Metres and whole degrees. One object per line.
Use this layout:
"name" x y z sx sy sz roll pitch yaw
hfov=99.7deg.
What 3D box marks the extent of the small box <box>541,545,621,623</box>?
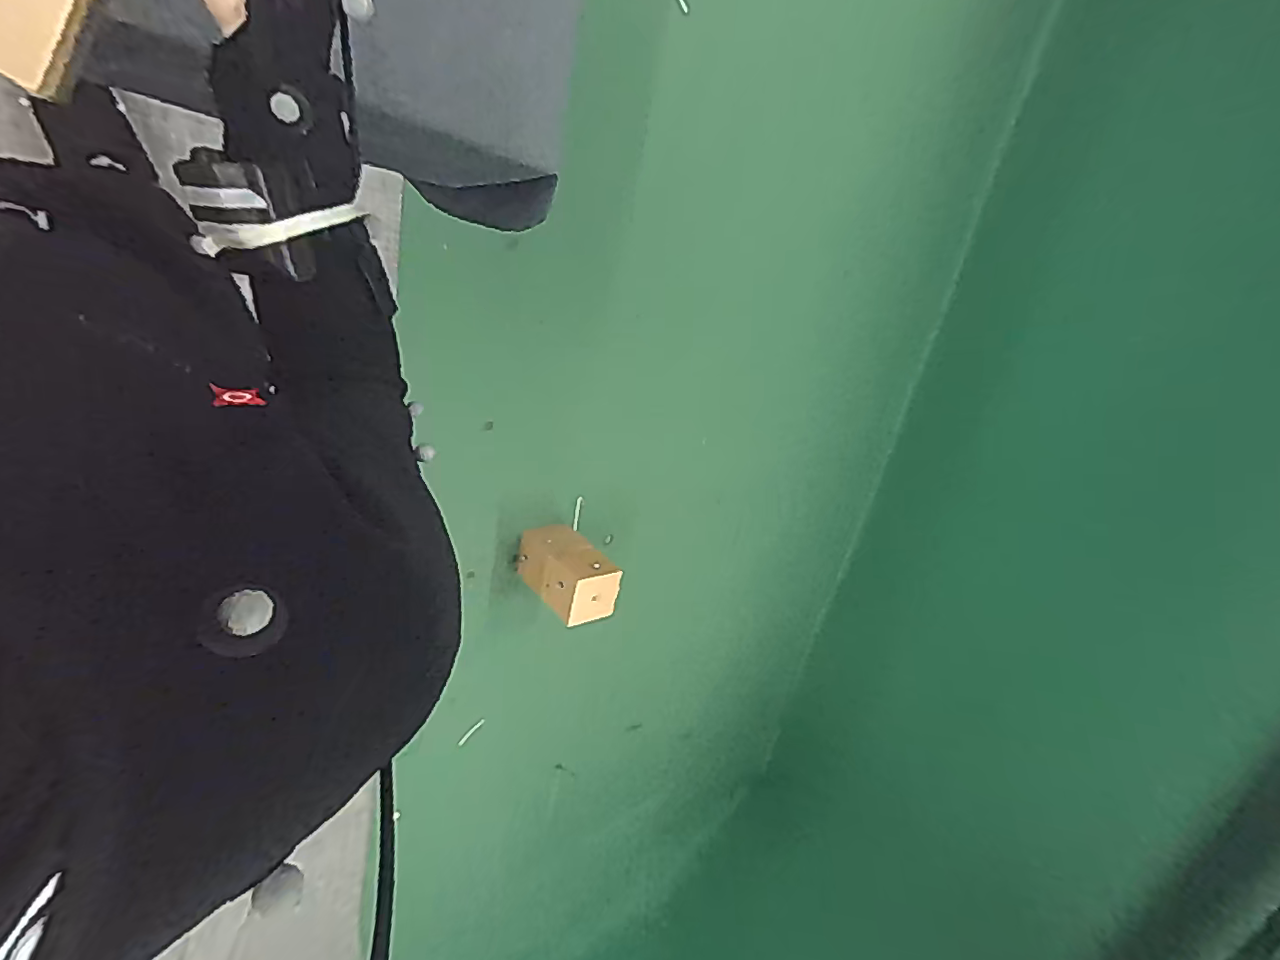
"small box" -0.192 0.323 1.709 0.179 0.176 0.168 -4 116 -44
